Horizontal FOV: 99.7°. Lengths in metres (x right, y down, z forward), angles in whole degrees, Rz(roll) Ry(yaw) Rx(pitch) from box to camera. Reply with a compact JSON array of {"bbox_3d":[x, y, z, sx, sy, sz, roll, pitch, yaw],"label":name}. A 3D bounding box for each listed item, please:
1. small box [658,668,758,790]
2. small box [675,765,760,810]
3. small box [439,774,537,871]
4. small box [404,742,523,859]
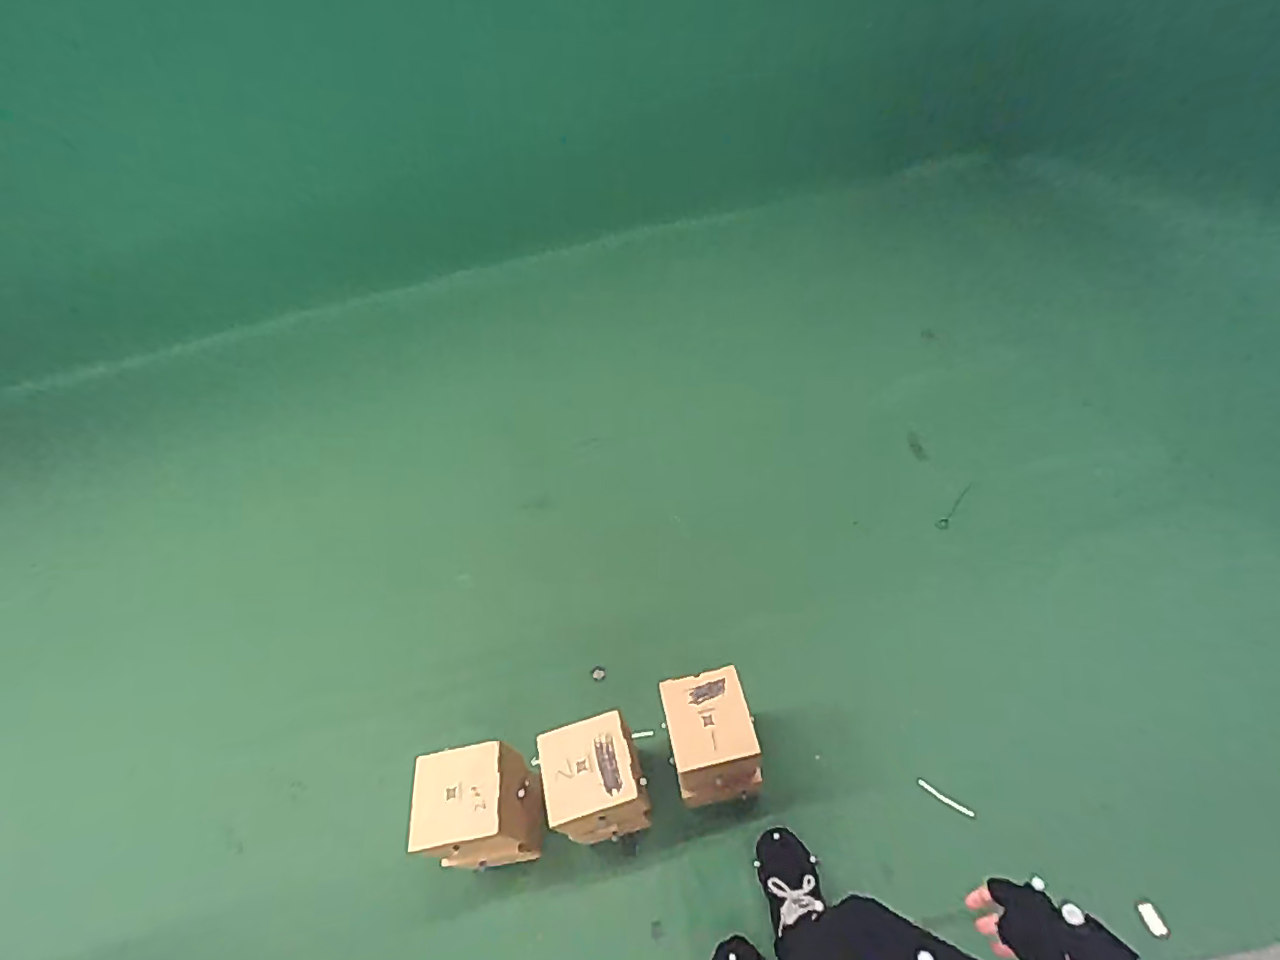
[{"bbox_3d":[0.139,0.524,1.135,0.168,0.176,0.179,-13,50,-1],"label":"small box"},{"bbox_3d":[0.165,0.643,1.245,0.179,0.176,0.168,-12,50,0],"label":"small box"},{"bbox_3d":[-0.335,0.772,1.227,0.168,0.176,0.179,-11,50,1],"label":"small box"},{"bbox_3d":[-0.351,0.660,1.106,0.179,0.176,0.168,-11,50,1],"label":"small box"}]
